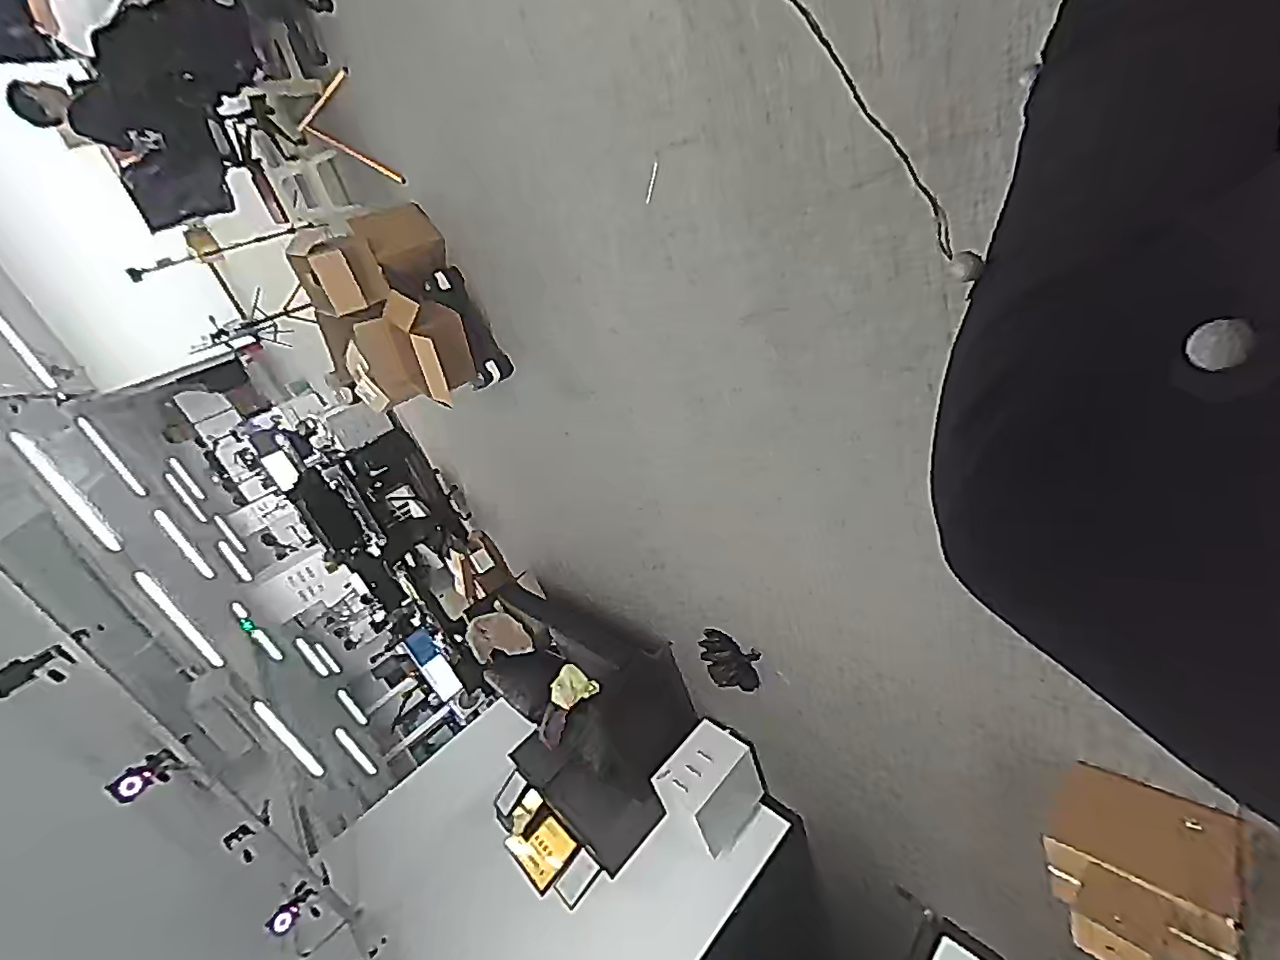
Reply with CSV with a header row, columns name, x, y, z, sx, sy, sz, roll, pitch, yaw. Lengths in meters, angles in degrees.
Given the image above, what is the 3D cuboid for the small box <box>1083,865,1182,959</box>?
name,x,y,z,sx,sy,sz,roll,pitch,yaw
small box,1.336,1.205,1.465,0.179,0.176,0.168,8,125,52
